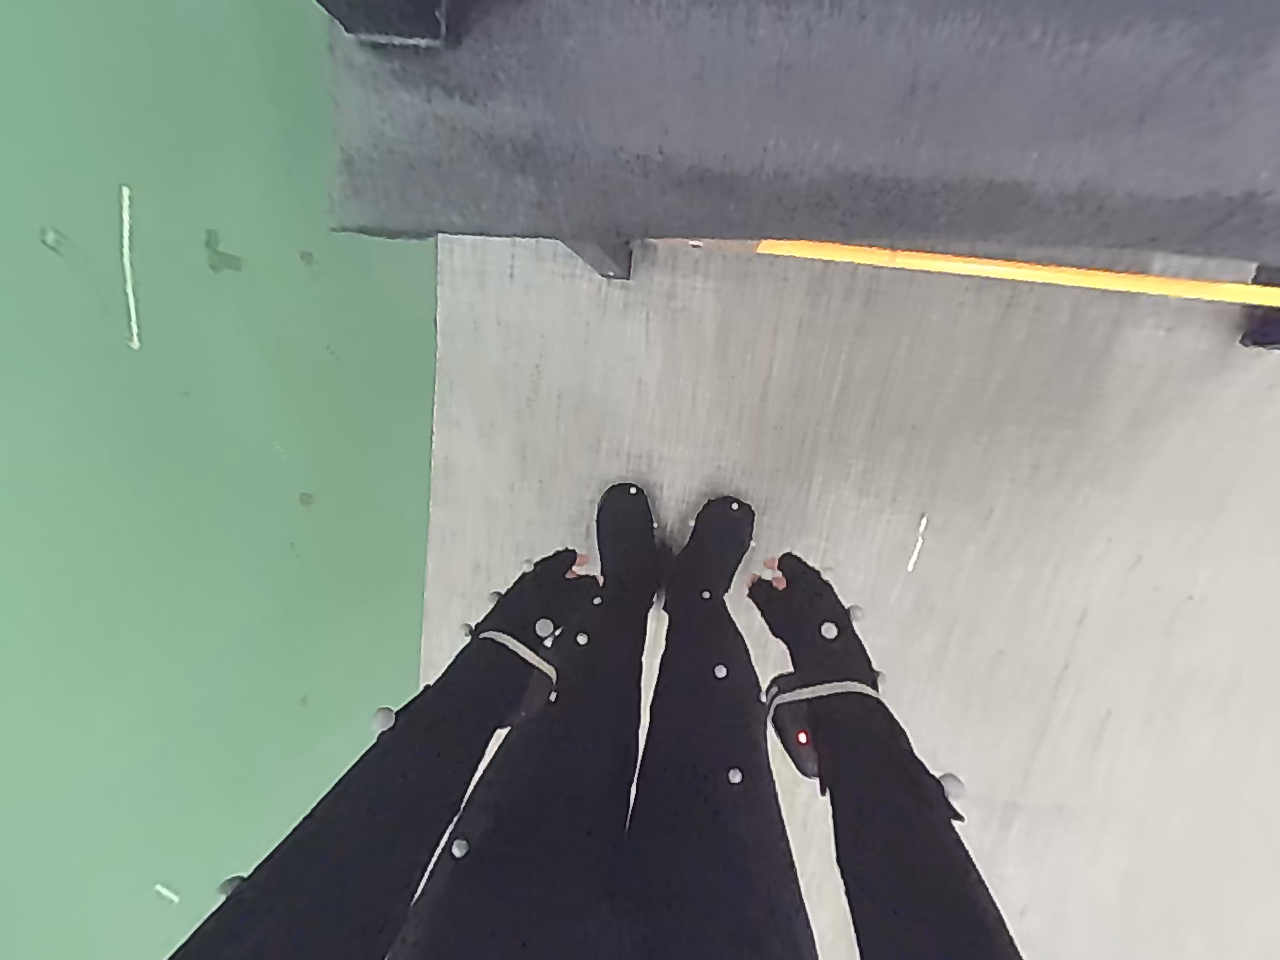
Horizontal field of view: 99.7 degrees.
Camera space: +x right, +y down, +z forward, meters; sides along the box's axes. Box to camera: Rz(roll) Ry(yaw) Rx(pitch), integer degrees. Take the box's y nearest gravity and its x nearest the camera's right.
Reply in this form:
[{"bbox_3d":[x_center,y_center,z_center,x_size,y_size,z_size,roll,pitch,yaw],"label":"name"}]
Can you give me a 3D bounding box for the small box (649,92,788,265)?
[{"bbox_3d":[0.108,-0.426,0.790,0.168,0.176,0.179,7,104,4],"label":"small box"}]
